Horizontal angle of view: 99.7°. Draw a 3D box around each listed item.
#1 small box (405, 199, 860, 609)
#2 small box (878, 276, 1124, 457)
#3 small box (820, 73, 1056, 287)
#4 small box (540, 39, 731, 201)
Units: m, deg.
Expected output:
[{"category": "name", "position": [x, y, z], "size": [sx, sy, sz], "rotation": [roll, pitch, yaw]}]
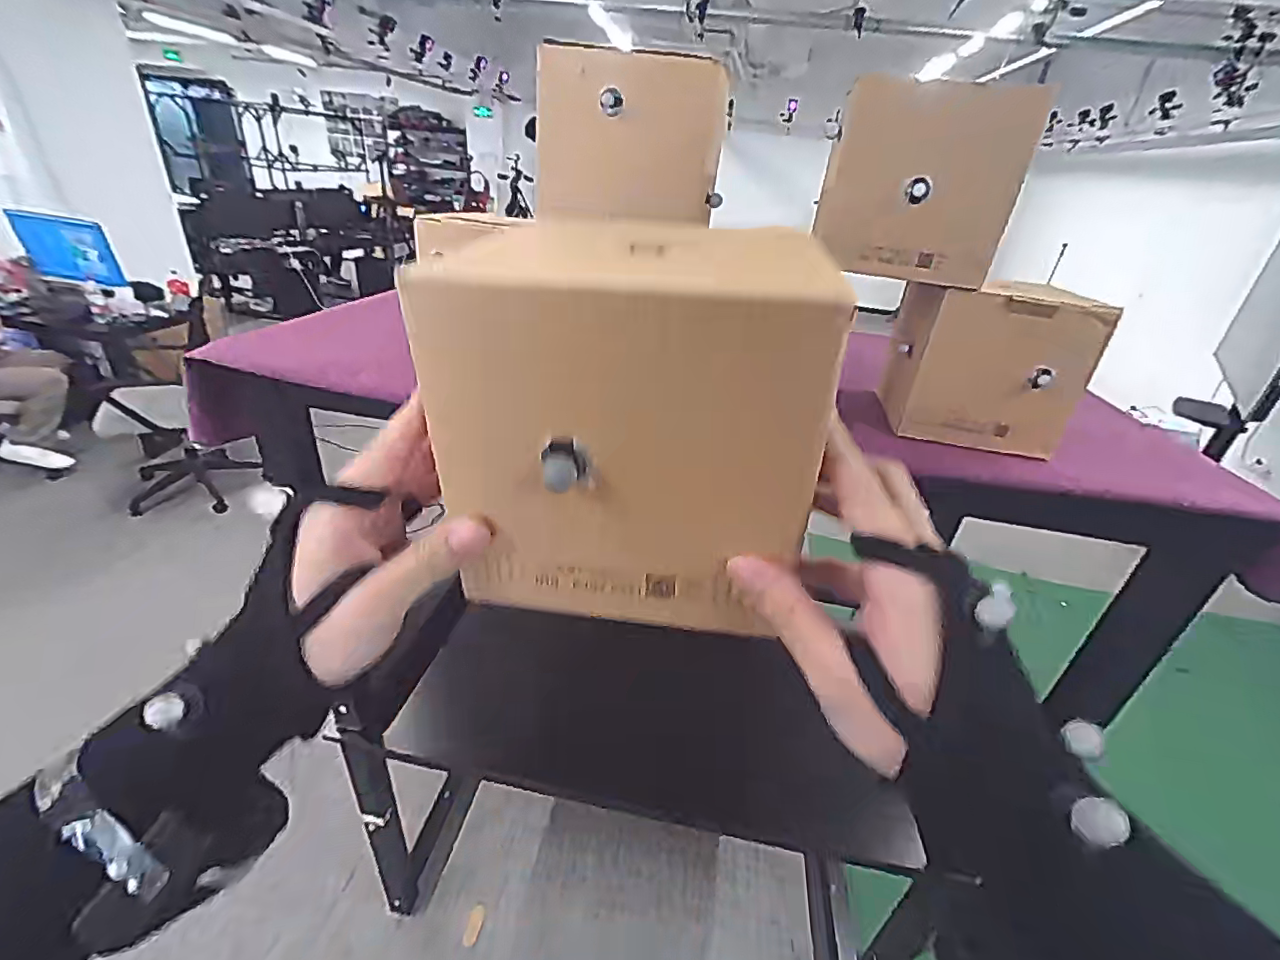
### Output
[{"category": "small box", "position": [0.006, -0.052, 0.298], "size": [0.168, 0.176, 0.179], "rotation": [5, 32, 7]}, {"category": "small box", "position": [0.398, -0.142, 0.637], "size": [0.168, 0.176, 0.179], "rotation": [12, 28, 10]}, {"category": "small box", "position": [0.285, -0.310, 0.576], "size": [0.168, 0.176, 0.179], "rotation": [12, 29, 9]}, {"category": "small box", "position": [-0.003, -0.359, 0.603], "size": [0.179, 0.176, 0.168], "rotation": [12, 29, 7]}]
